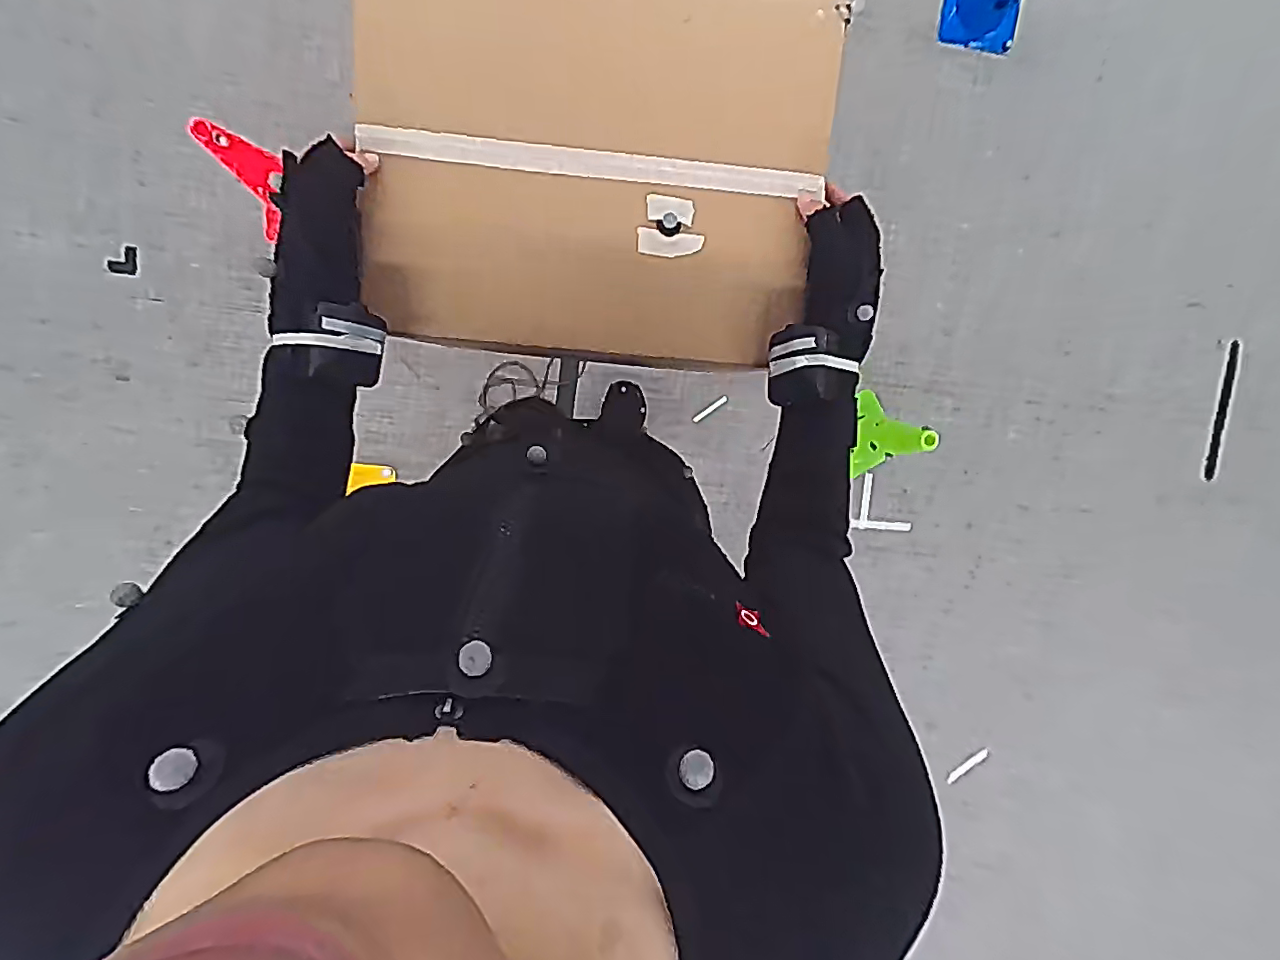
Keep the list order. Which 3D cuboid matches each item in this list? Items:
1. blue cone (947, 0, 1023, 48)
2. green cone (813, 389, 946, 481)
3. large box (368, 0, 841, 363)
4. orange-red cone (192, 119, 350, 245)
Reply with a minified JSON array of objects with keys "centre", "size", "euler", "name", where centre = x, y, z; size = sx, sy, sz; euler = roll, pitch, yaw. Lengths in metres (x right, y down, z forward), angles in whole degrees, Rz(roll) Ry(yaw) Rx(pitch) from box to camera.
[{"centre":[0.893,-1.194,1.214],"size":[0.192,0.380,0.193],"euler":[10,96,-5],"name":"blue cone"},{"centre":[0.606,-0.104,1.307],"size":[0.202,0.368,0.200],"euler":[-31,98,-1],"name":"green cone"},{"centre":[-0.044,-0.308,0.621],"size":[0.408,0.320,0.320],"euler":[4,101,-5],"name":"large box"},{"centre":[-0.817,-0.671,1.176],"size":[0.198,0.360,0.199],"euler":[4,98,-2],"name":"orange-red cone"}]
